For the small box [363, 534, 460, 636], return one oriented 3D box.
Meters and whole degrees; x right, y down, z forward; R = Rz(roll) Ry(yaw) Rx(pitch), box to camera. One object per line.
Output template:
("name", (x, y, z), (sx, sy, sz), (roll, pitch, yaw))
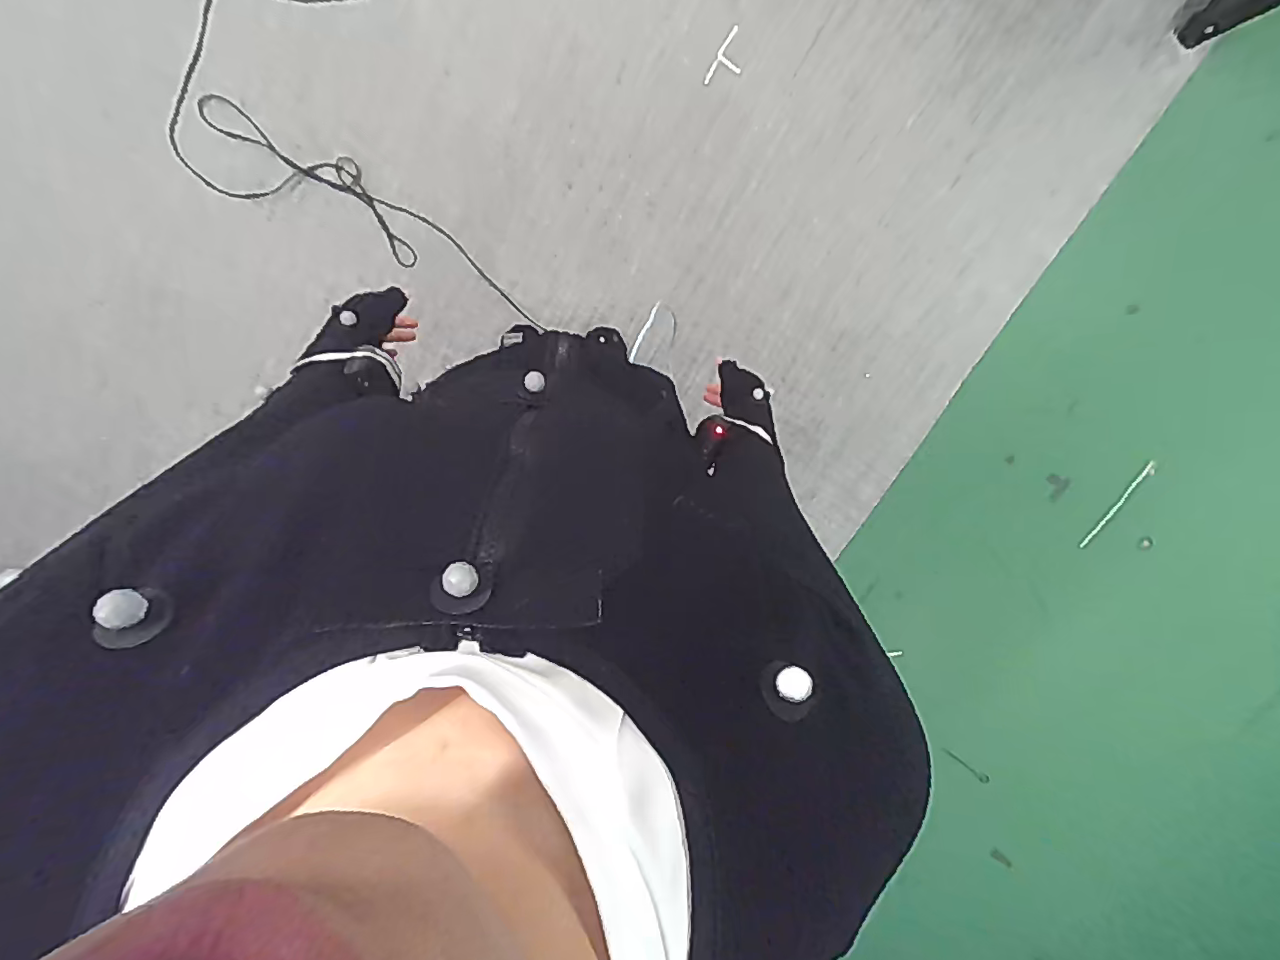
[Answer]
("small box", (-0.584, 0.265, 1.406), (0.168, 0.176, 0.179), (24, 104, -13))
